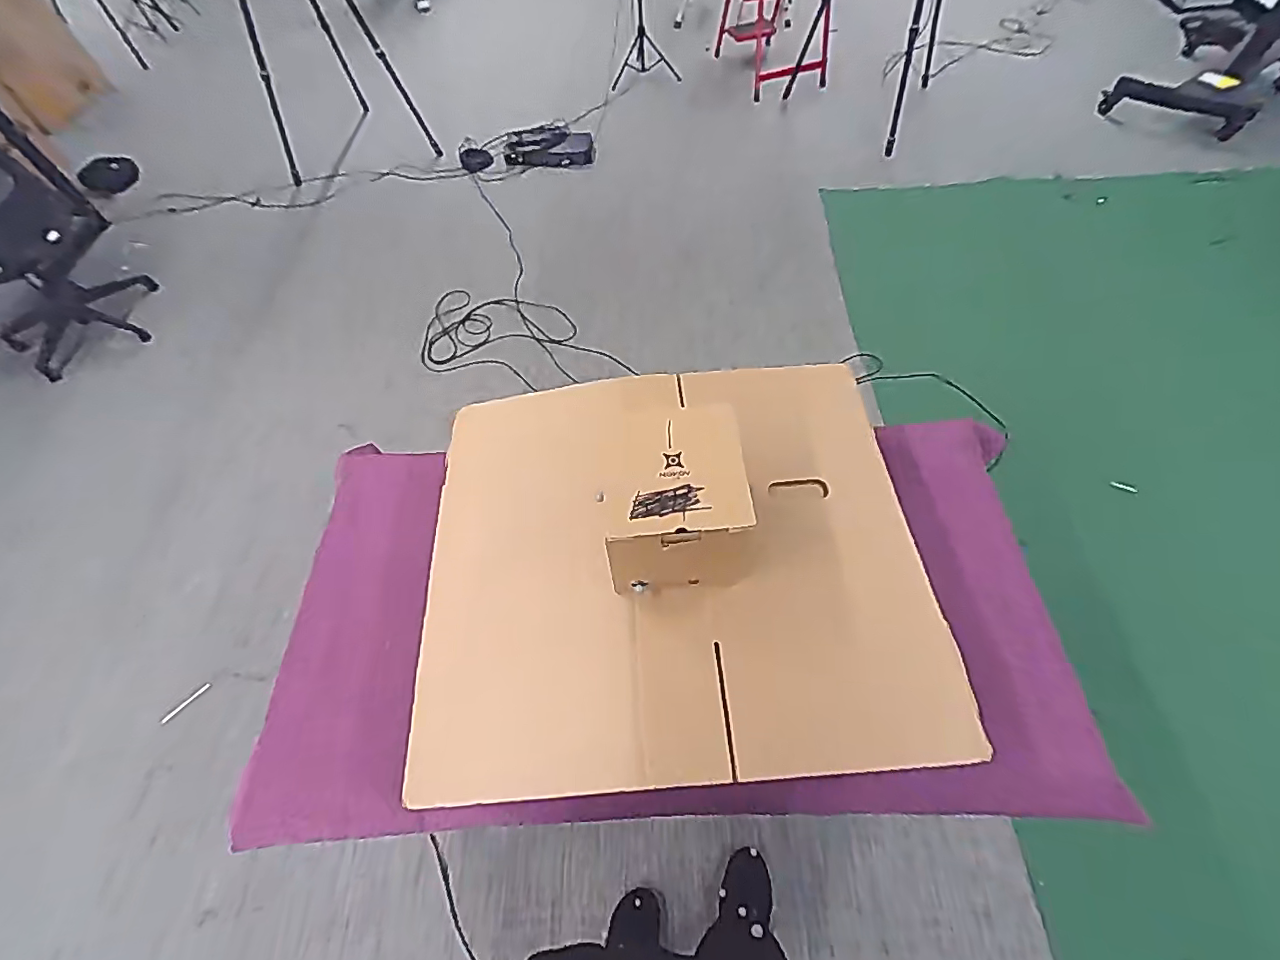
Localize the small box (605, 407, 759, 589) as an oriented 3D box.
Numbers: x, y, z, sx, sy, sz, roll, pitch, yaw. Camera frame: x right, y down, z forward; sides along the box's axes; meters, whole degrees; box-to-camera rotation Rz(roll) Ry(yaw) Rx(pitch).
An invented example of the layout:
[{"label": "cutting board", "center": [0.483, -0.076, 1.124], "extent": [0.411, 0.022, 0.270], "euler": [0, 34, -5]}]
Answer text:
[{"label": "small box", "center": [0.046, 0.031, 0.689], "extent": [0.168, 0.176, 0.179], "euler": [-4, 58, -1]}]
